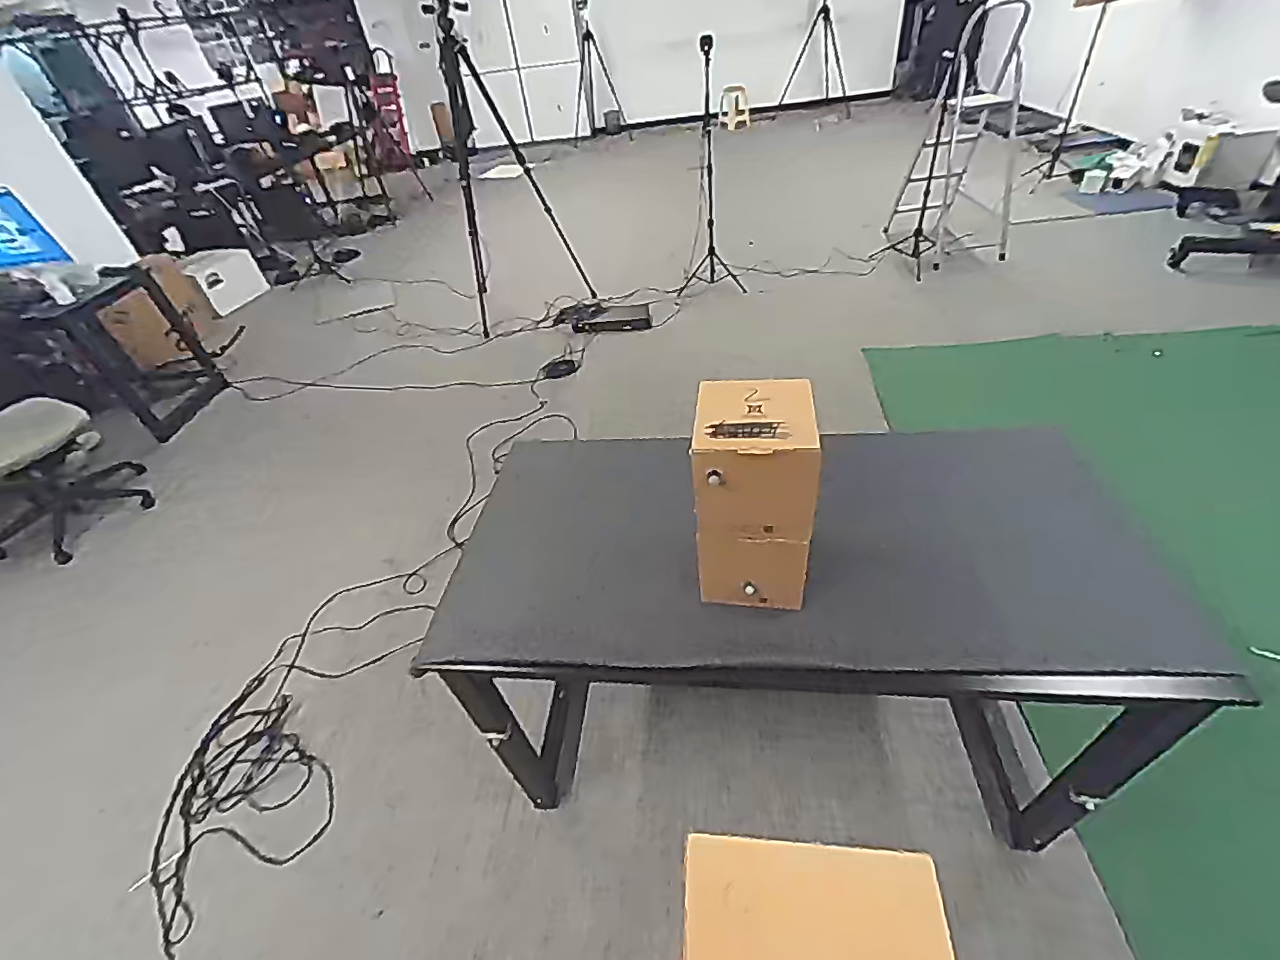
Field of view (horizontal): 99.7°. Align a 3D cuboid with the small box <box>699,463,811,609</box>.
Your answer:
[{"bbox_3d":[0.193,0.091,0.912,0.168,0.176,0.179,2,42,13],"label":"small box"}]
